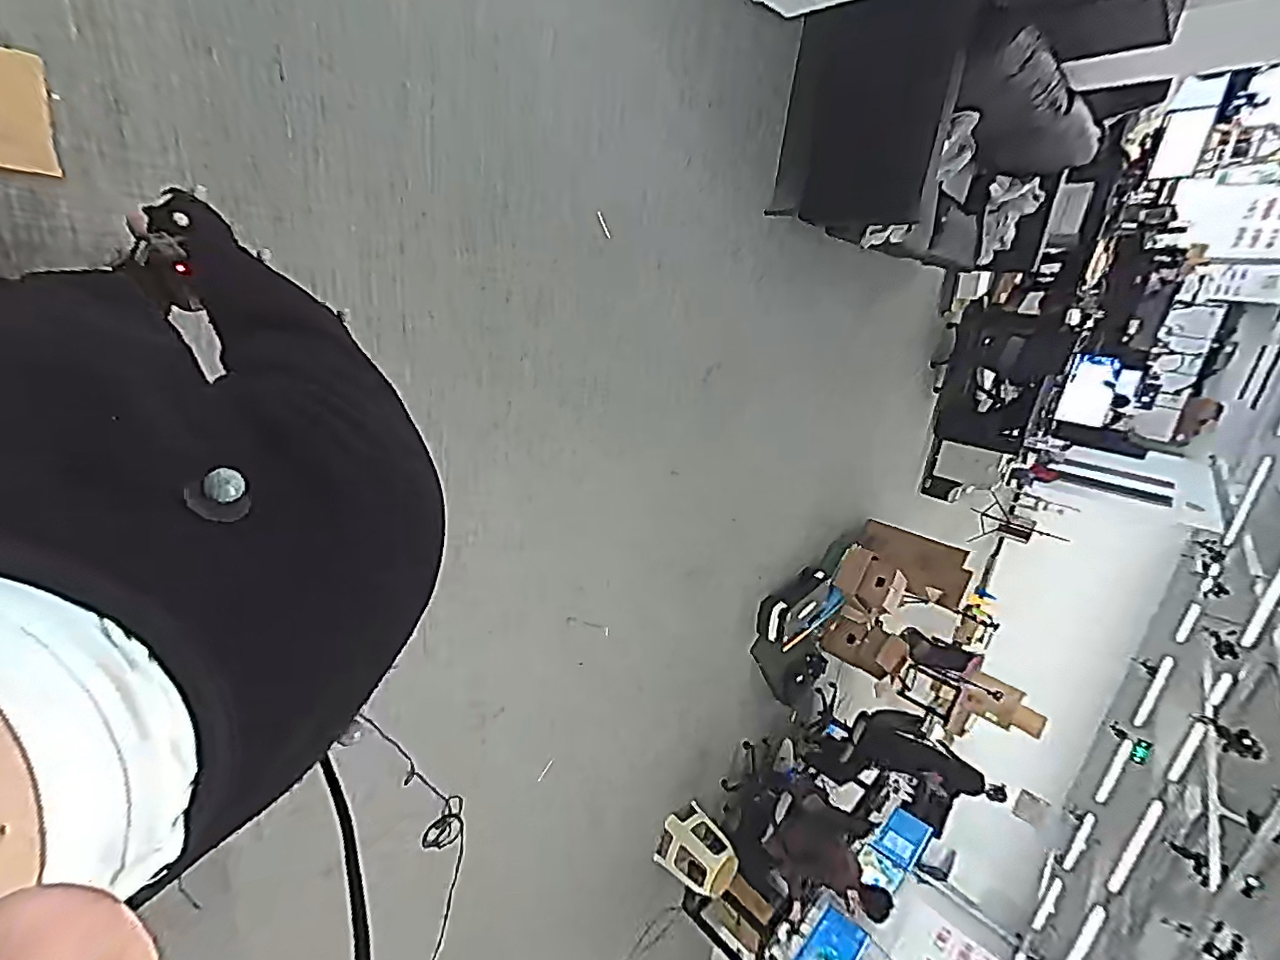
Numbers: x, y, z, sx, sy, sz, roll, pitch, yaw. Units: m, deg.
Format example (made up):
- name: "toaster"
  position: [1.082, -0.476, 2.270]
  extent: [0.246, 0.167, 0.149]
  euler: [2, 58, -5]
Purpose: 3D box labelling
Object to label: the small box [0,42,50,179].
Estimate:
- name: "small box"
  position: [-1.072, -0.600, 0.859]
  extent: [0.168, 0.176, 0.179]
  euler: [-8, 113, -44]
